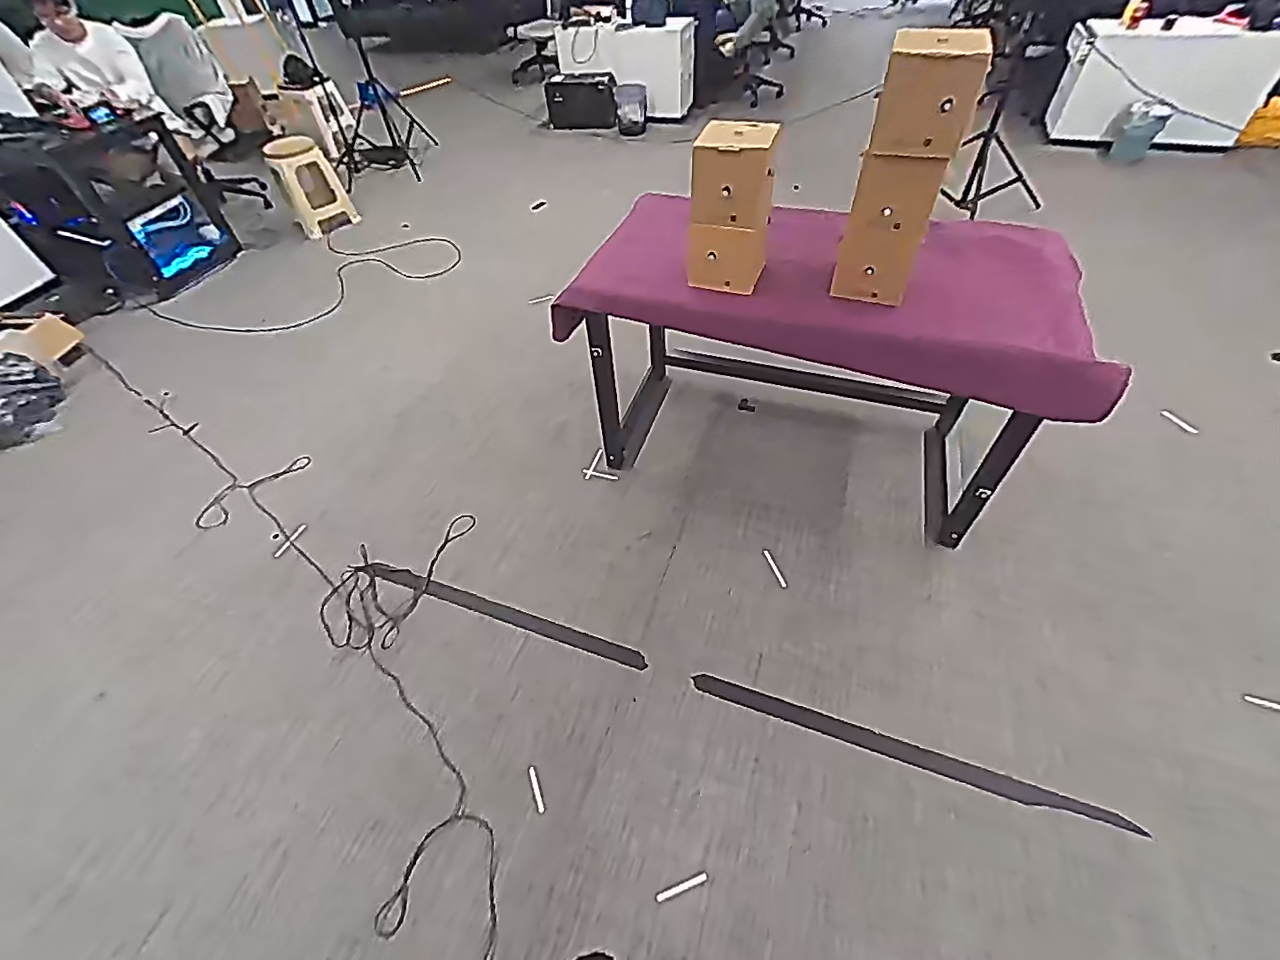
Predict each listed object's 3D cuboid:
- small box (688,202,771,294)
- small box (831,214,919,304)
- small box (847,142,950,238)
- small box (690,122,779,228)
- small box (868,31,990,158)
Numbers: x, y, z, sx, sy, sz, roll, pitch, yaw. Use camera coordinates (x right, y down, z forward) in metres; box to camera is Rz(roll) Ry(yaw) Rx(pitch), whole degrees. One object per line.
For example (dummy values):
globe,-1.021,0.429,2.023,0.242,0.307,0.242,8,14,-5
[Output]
small box,0.226,-0.595,1.377,0.168,0.176,0.179,14,51,15
small box,0.573,-0.552,1.313,0.168,0.176,0.179,16,52,16
small box,0.568,-0.660,1.190,0.168,0.176,0.179,15,53,17
small box,0.218,-0.708,1.258,0.168,0.176,0.179,12,51,14
small box,0.554,-0.749,1.053,0.168,0.176,0.179,13,51,14
